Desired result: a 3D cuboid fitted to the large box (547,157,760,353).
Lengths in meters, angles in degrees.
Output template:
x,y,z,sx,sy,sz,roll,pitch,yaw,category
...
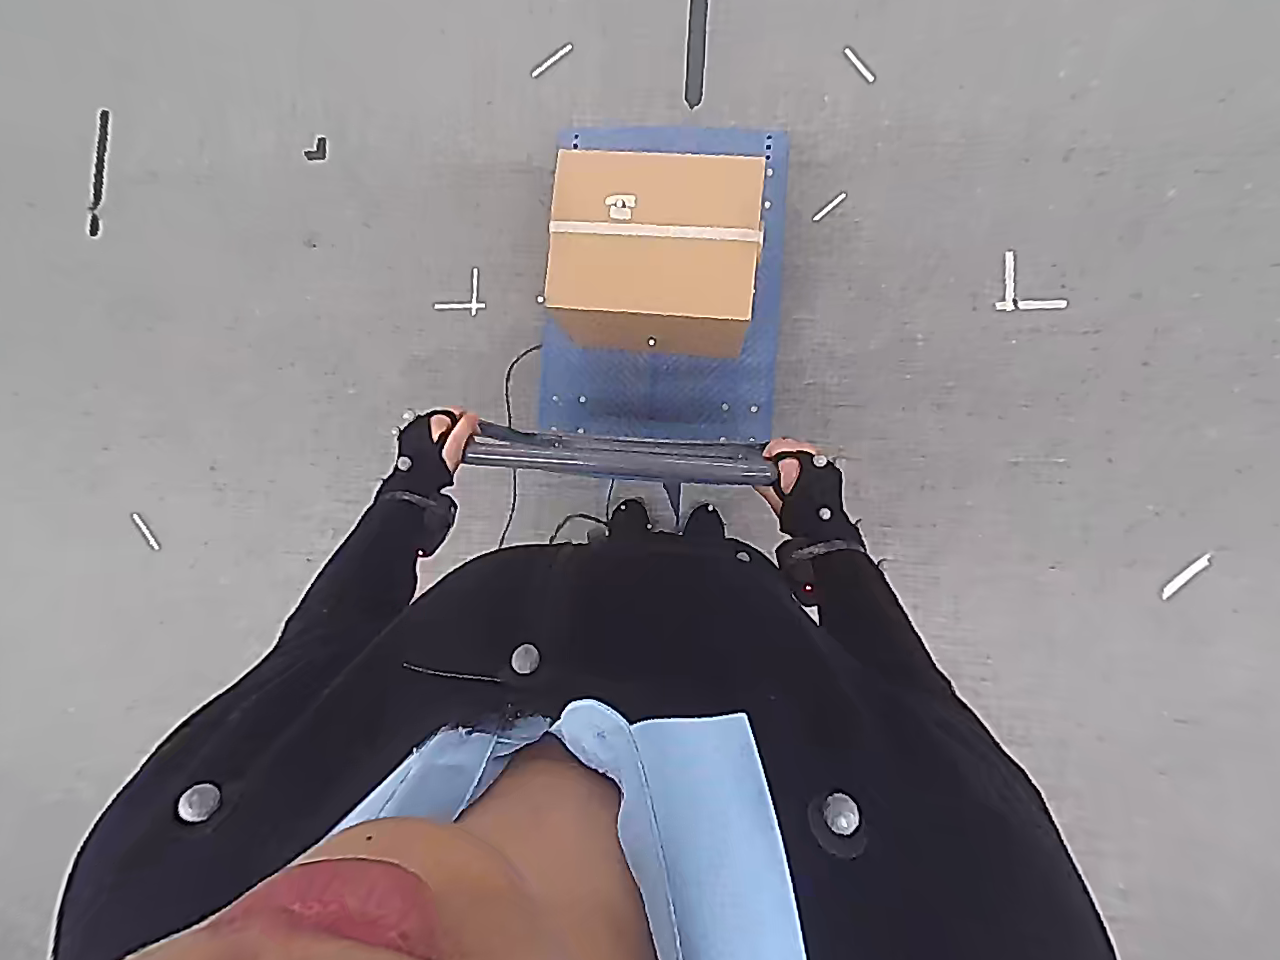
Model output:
x,y,z,sx,sy,sz,roll,pitch,yaw,category
0.041,-0.475,1.200,0.408,0.320,0.320,5,88,6,large box
